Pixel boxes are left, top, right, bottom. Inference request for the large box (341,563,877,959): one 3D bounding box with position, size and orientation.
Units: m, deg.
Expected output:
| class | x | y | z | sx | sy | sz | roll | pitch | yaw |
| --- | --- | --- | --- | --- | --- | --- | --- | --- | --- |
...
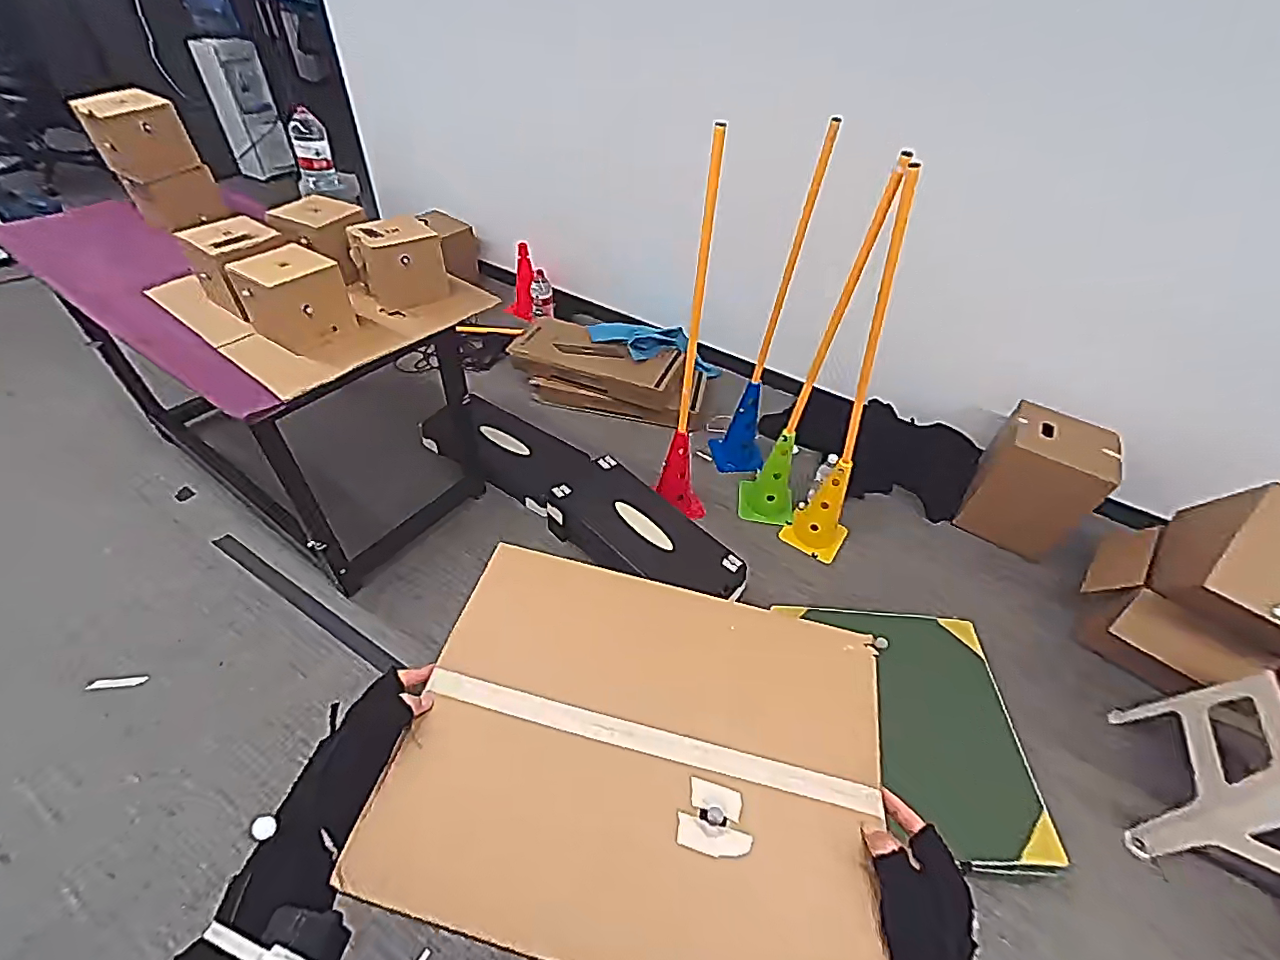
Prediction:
| class | x | y | z | sx | sy | sz | roll | pitch | yaw |
| --- | --- | --- | --- | --- | --- | --- | --- | --- | --- |
| large box | -0.010 | 0.340 | 0.586 | 0.408 | 0.320 | 0.320 | 14 | 49 | 5 |
